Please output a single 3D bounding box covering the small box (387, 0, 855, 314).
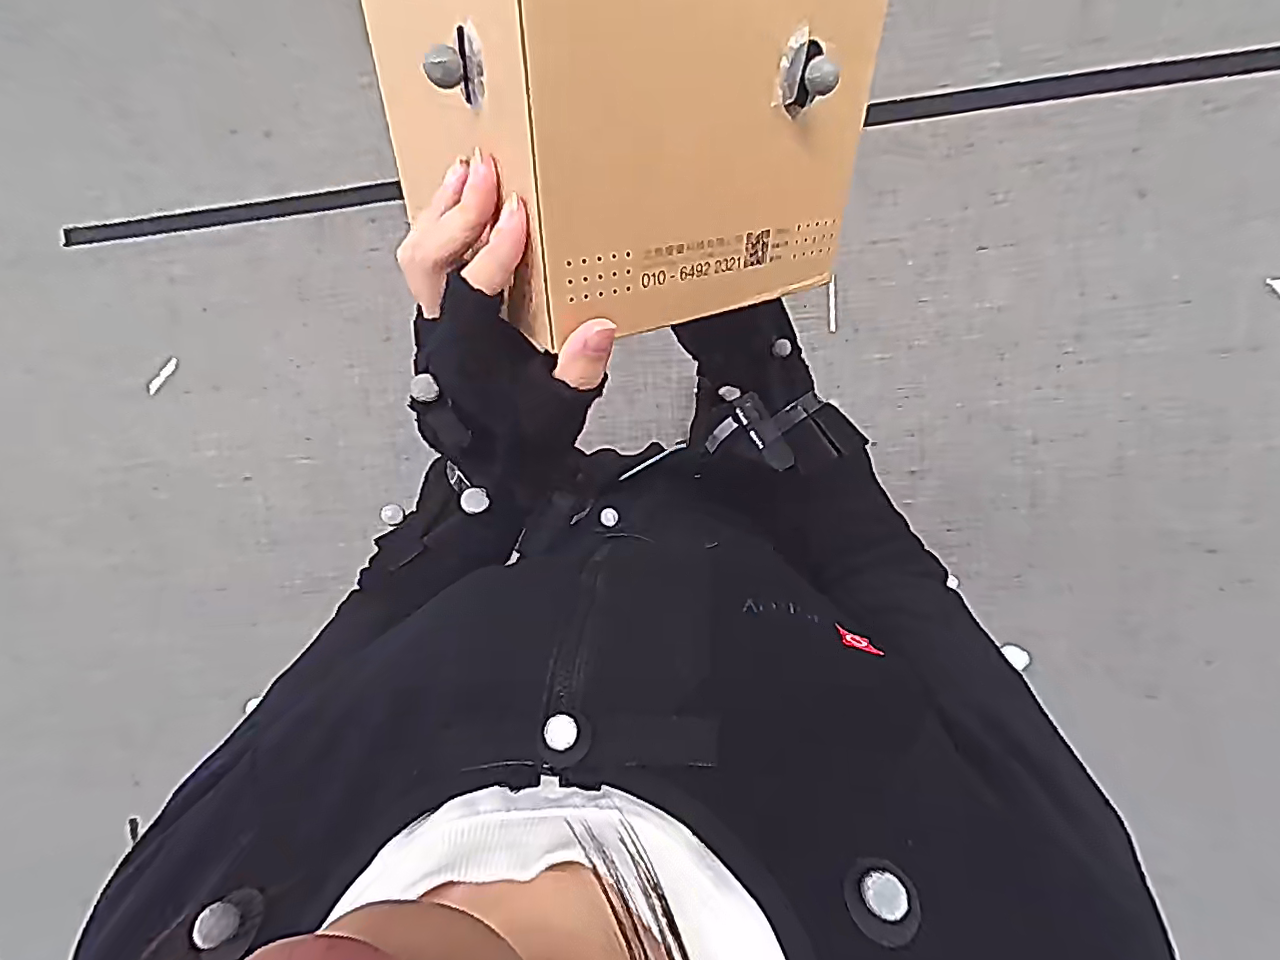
[{"bbox_3d":[-0.012,-0.193,0.273,0.168,0.179,0.176,-21,131,-28],"label":"small box"}]
